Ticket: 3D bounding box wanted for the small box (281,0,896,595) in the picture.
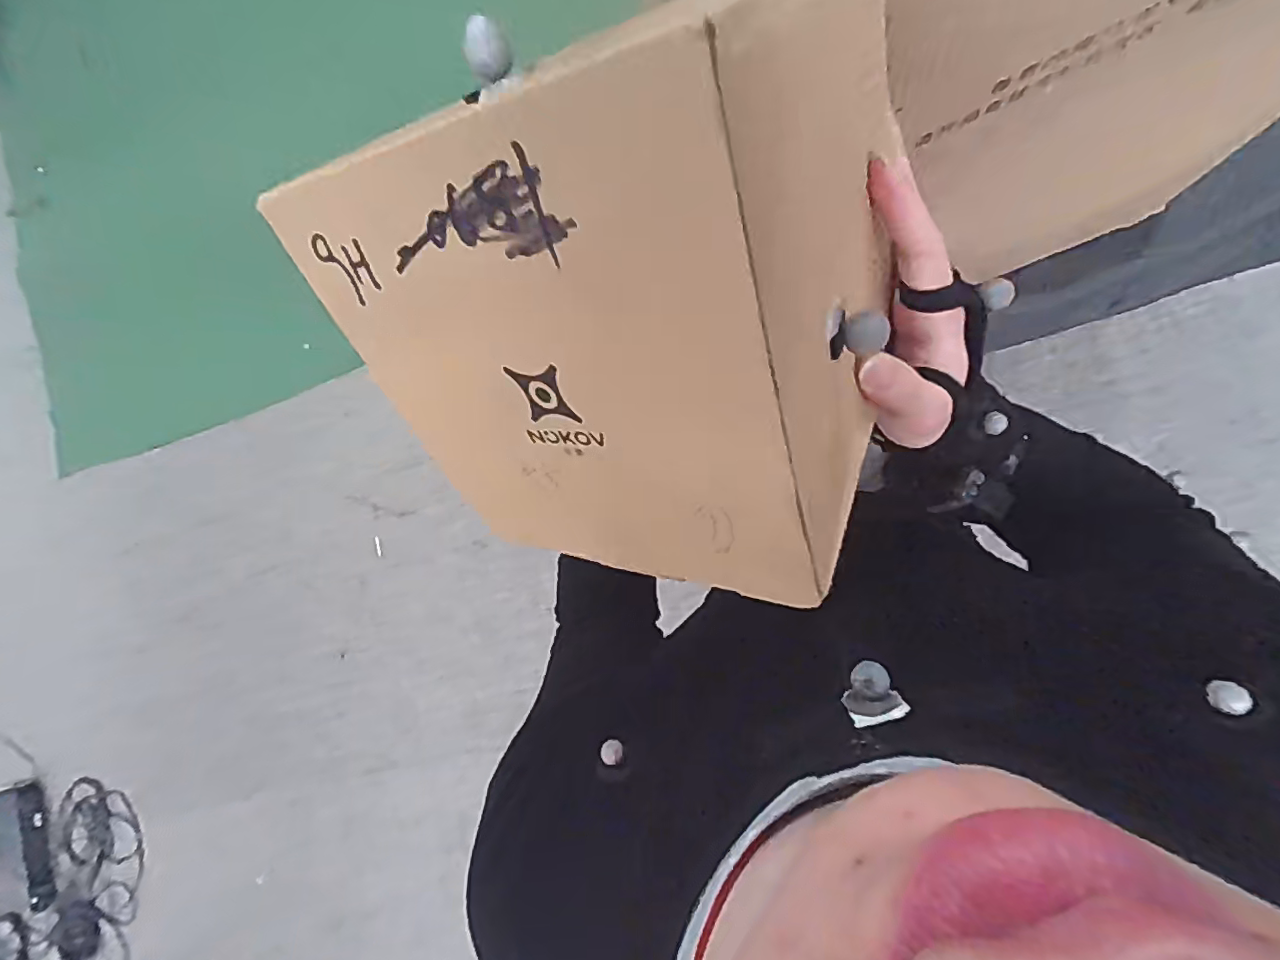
[{"bbox_3d":[0.010,-0.081,0.236,0.168,0.179,0.176,5,48,31],"label":"small box"}]
